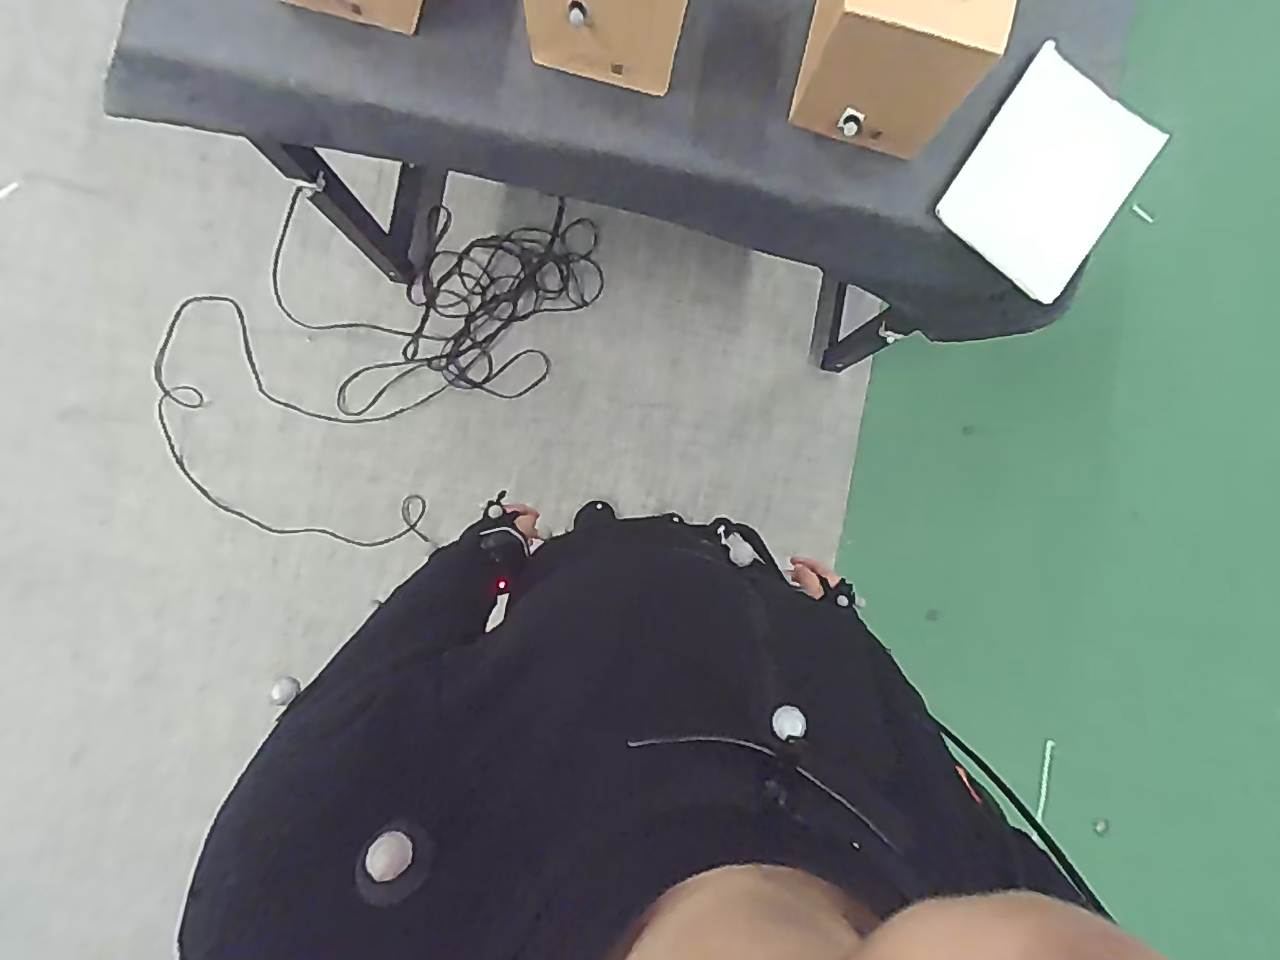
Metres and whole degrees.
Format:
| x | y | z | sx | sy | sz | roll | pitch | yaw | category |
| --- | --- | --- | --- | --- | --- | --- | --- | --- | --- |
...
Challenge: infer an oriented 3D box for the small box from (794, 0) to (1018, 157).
| x | y | z | sx | sy | sz | roll | pitch | yaw | category |
| --- | --- | --- | --- | --- | --- | --- | --- | --- | --- |
| 0.286 | -0.505 | 0.595 | 0.168 | 0.176 | 0.179 | 13 | 88 | -2 | small box |

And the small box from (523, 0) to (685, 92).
| x | y | z | sx | sy | sz | roll | pitch | yaw | category |
| --- | --- | --- | --- | --- | --- | --- | --- | --- | --- |
| -0.029 | -0.568 | 0.579 | 0.168 | 0.176 | 0.179 | 12 | 87 | -3 | small box |
